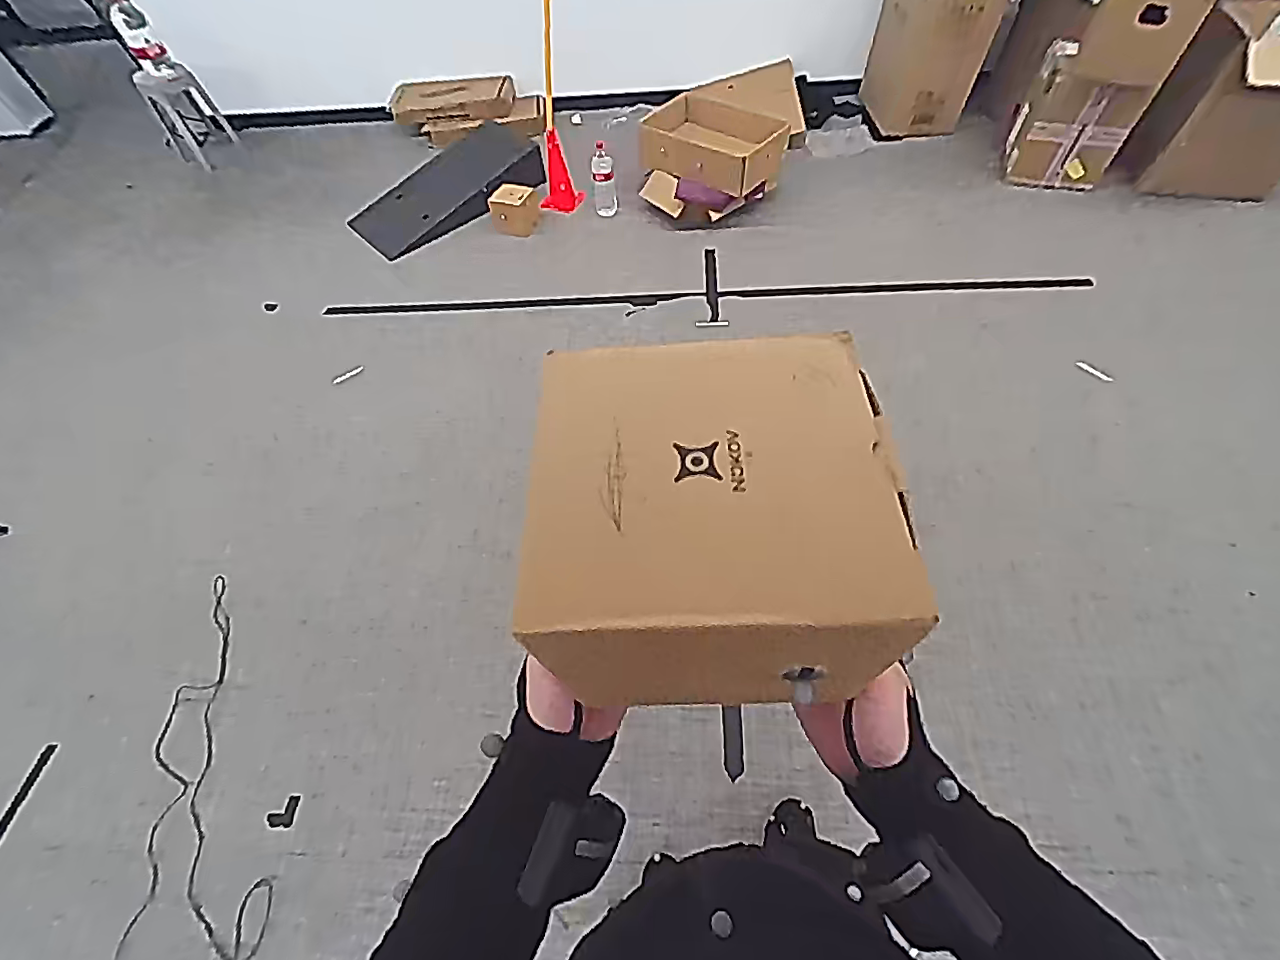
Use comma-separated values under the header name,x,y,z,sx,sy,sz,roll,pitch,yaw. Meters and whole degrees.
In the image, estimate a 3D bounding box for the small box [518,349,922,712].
name,x,y,z,sx,sy,sz,roll,pitch,yaw
small box,0.040,0.042,0.340,0.179,0.176,0.168,-4,56,5
